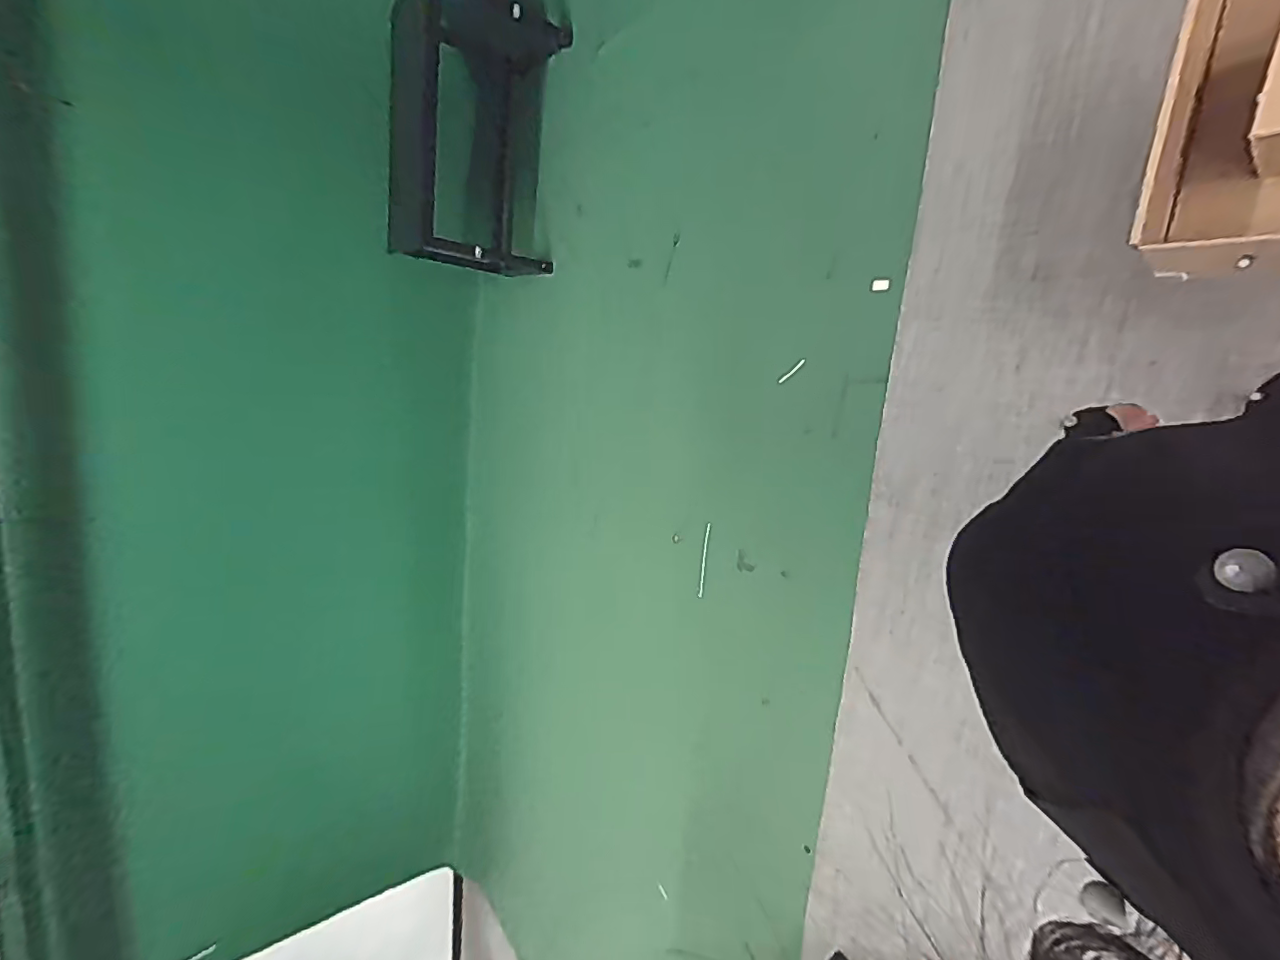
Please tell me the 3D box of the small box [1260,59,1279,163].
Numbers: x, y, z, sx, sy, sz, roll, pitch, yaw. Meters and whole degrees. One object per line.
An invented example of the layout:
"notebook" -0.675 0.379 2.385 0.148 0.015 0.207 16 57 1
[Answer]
"small box" 0.852 -0.481 0.602 0.179 0.176 0.168 20 108 50
